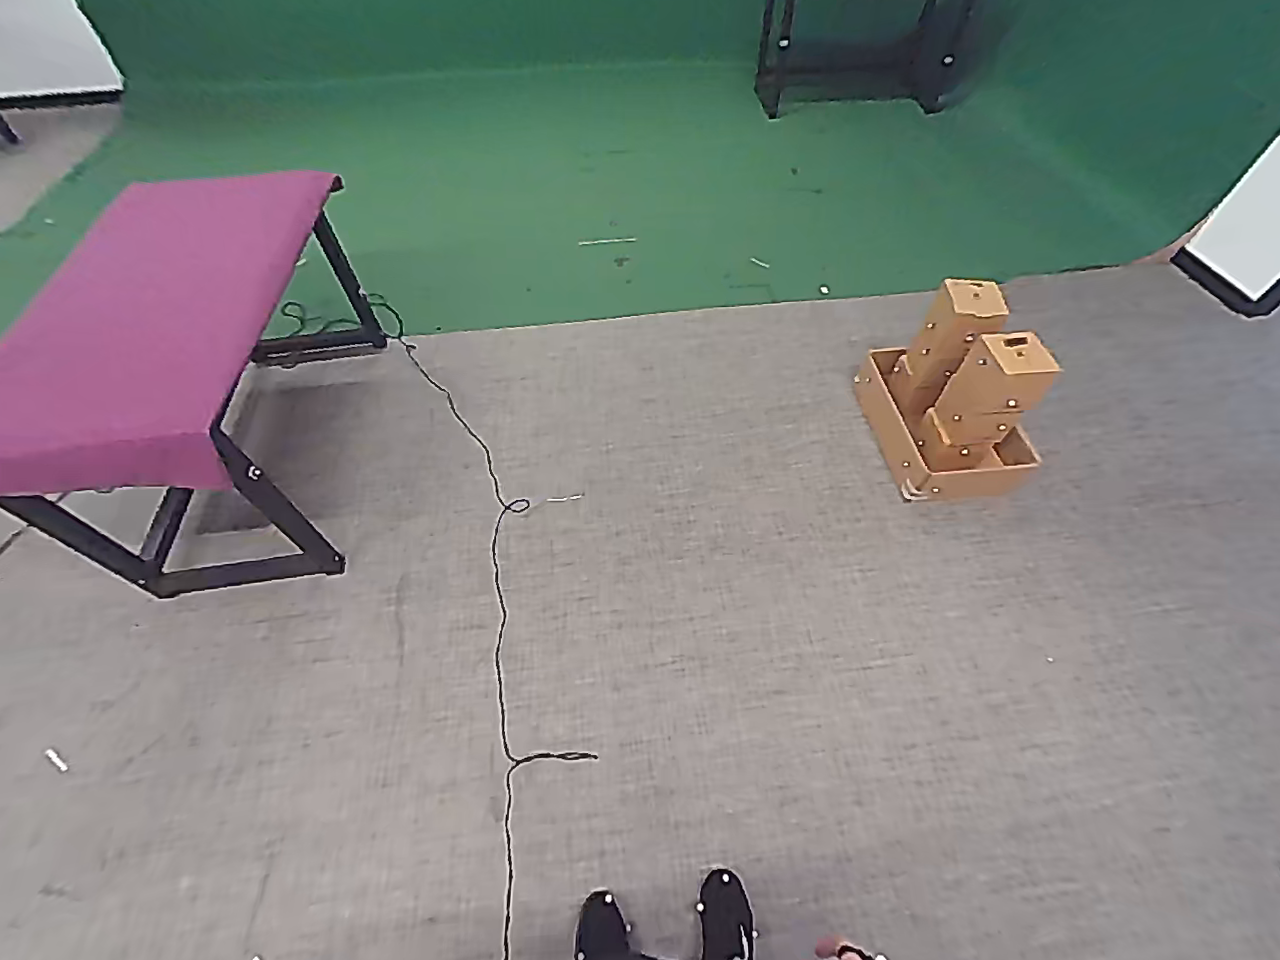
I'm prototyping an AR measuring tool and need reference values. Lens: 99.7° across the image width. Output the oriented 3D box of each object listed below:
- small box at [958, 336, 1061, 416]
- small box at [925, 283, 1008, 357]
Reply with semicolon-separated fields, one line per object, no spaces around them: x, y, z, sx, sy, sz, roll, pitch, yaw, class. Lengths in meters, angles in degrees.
1.118;-0.317;1.656;0.168;0.176;0.179;-4;54;-2;small box
1.082;-0.529;1.806;0.168;0.176;0.179;5;57;4;small box
